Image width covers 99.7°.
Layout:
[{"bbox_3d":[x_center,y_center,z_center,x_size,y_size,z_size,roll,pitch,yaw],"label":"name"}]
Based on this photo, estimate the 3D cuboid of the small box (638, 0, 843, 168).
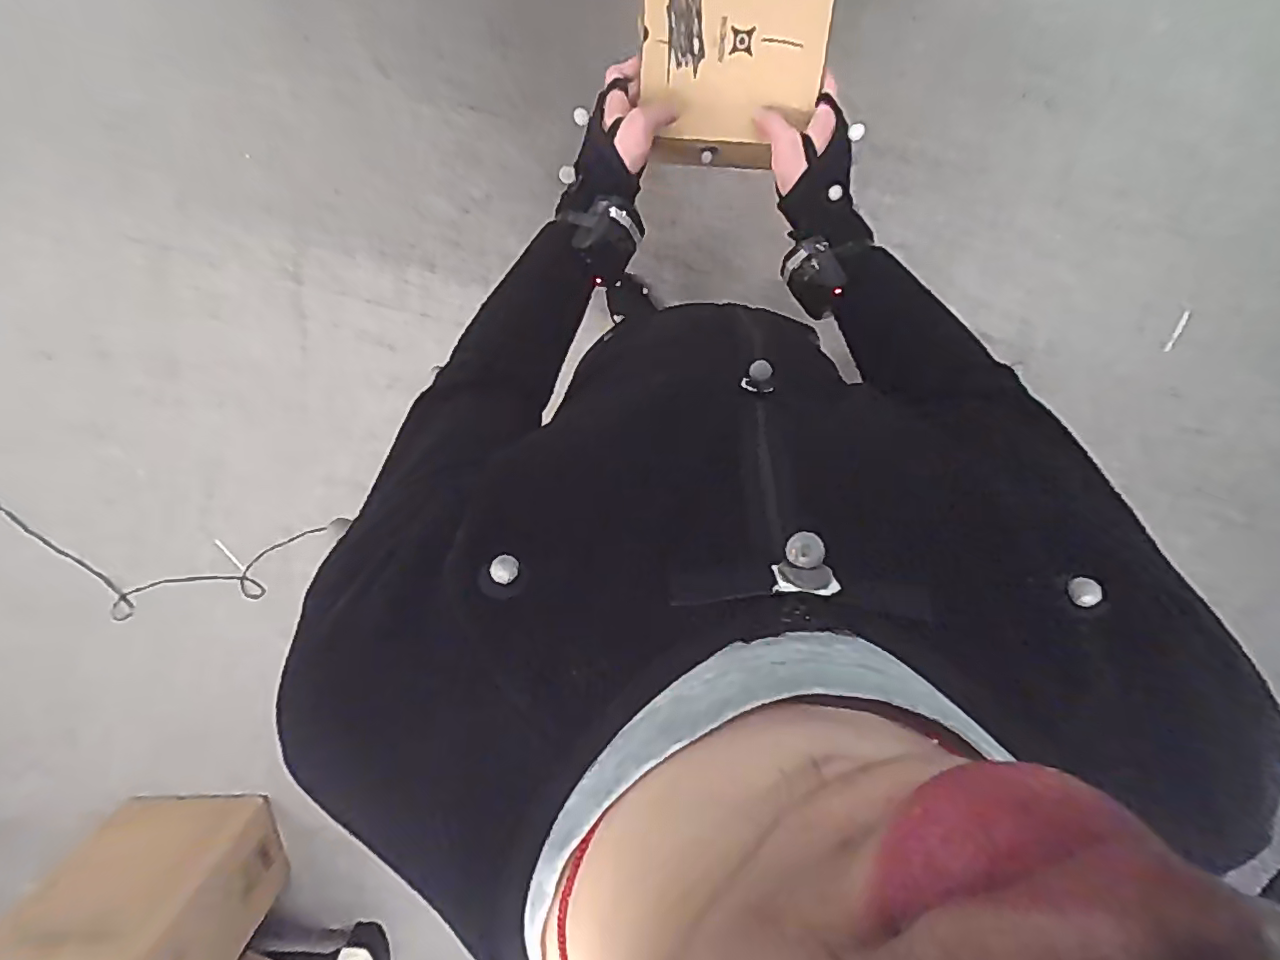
[{"bbox_3d":[0.091,-0.431,0.557,0.179,0.176,0.168,3,112,-1],"label":"small box"}]
